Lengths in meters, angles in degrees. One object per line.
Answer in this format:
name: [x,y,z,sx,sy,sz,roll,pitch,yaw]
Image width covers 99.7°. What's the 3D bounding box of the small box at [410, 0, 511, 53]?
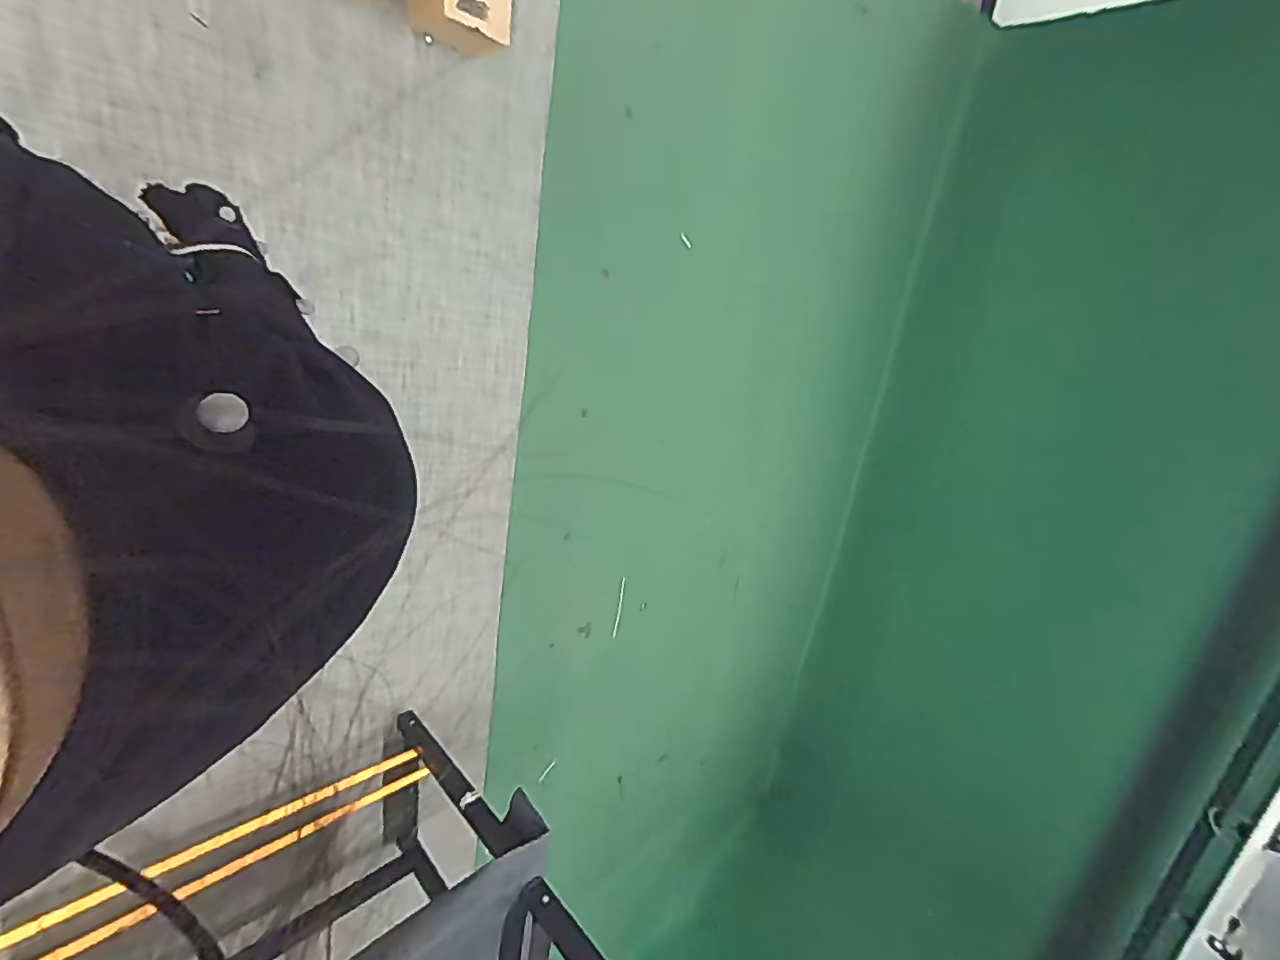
small box: [-0.411,-1.119,1.235,0.168,0.176,0.179,-9,115,-46]
